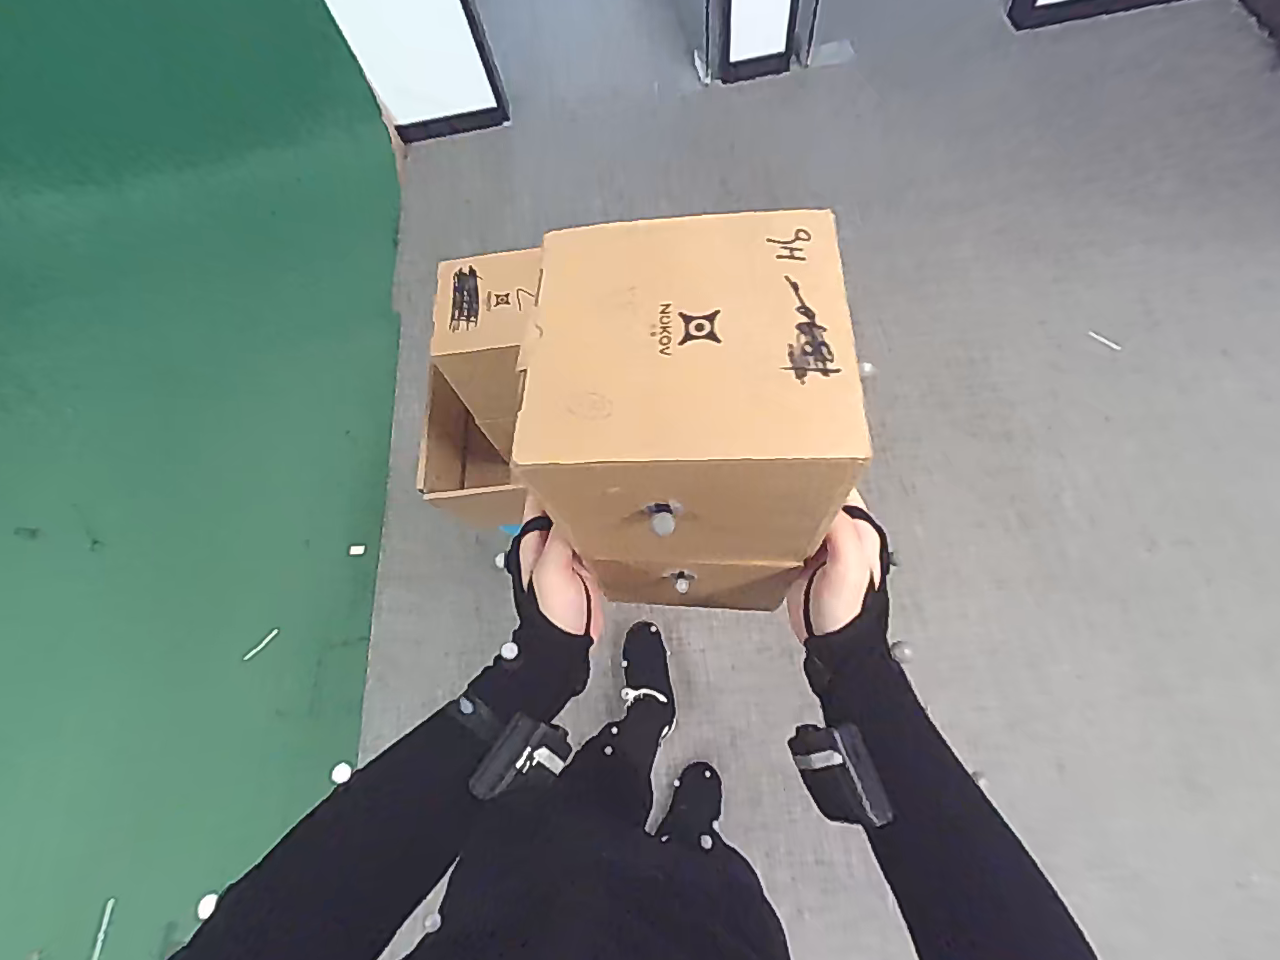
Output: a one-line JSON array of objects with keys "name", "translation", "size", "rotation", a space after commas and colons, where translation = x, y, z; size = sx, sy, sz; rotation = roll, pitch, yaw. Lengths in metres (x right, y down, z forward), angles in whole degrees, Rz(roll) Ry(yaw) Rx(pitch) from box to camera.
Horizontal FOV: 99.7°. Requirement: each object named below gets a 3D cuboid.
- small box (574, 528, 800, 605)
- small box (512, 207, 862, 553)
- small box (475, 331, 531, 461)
[{"name": "small box", "translation": [0.049, 0.018, 0.516], "size": [0.179, 0.176, 0.168], "rotation": [3, 65, 7]}, {"name": "small box", "translation": [0.034, -0.051, 0.368], "size": [0.179, 0.176, 0.168], "rotation": [-1, 66, 7]}, {"name": "small box", "translation": [-0.173, -0.144, 0.949], "size": [0.179, 0.176, 0.168], "rotation": [-5, 66, 3]}]
